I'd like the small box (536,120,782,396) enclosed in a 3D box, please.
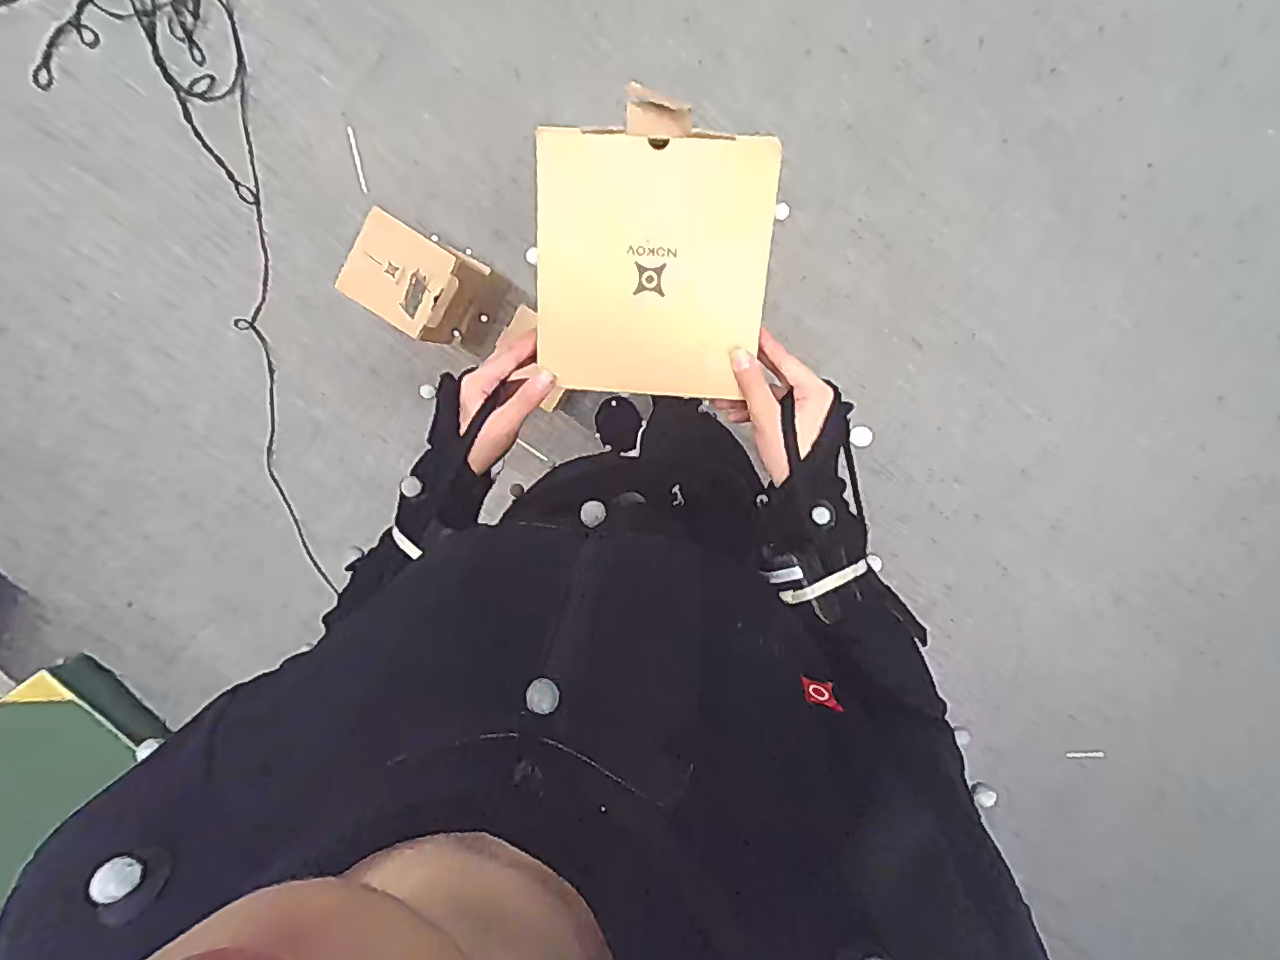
[{"bbox_3d":[0.014,-0.175,0.456,0.168,0.176,0.179,4,107,3],"label":"small box"}]

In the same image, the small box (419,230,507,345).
[{"bbox_3d":[-0.415,-0.413,1.197,0.168,0.176,0.179,27,101,-3],"label":"small box"}]

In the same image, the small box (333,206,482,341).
[{"bbox_3d":[-0.431,-0.382,1.036,0.179,0.176,0.168,32,100,-4],"label":"small box"}]
